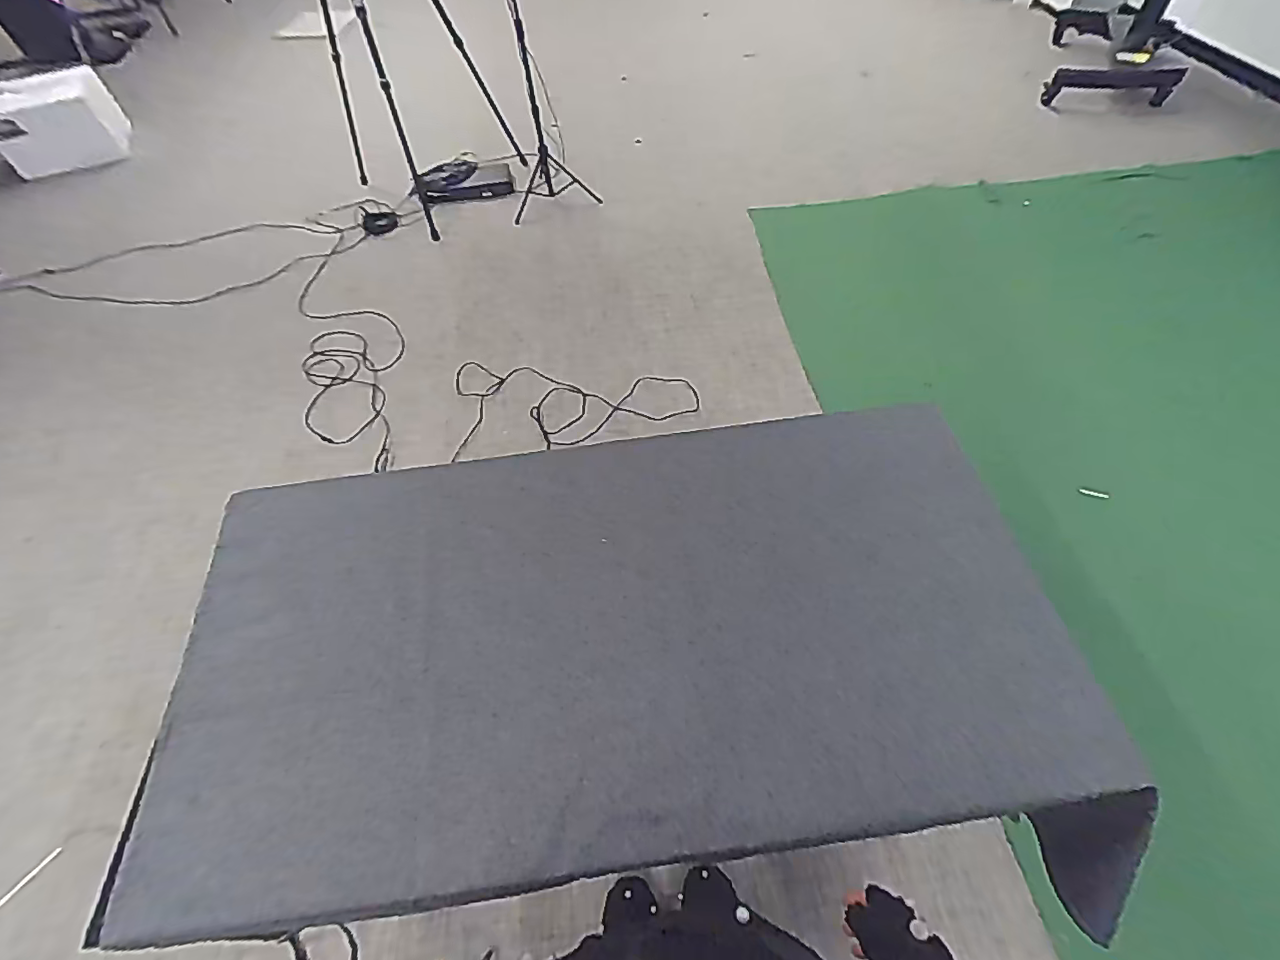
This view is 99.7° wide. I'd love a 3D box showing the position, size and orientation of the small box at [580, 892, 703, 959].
[{"bbox_3d":[-0.006,0.943,1.050,0.179,0.176,0.168,15,67,34],"label":"small box"}]
